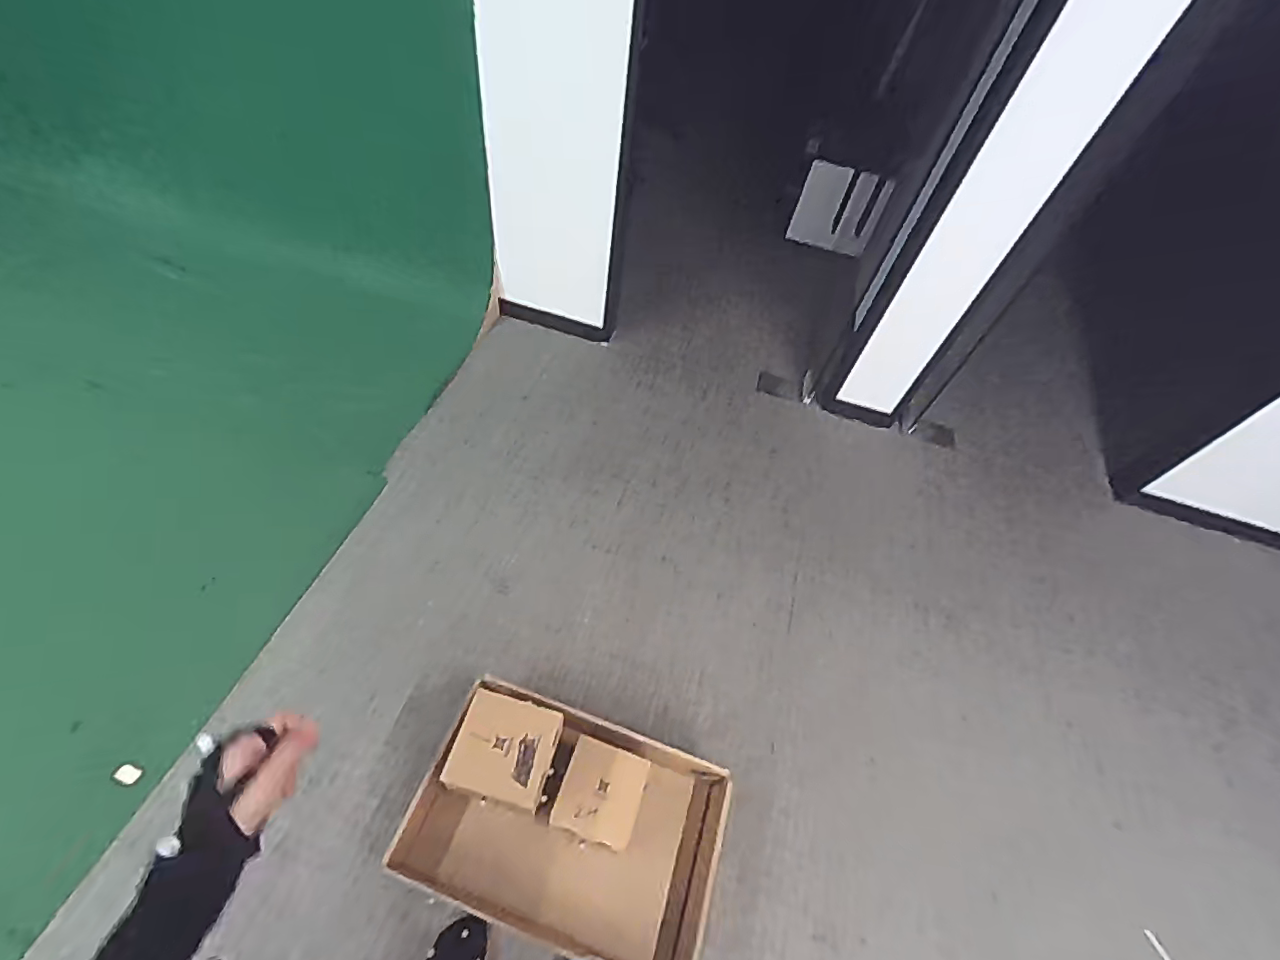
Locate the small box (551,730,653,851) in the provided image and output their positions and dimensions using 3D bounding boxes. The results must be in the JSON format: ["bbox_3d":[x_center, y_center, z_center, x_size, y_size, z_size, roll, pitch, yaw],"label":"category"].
[{"bbox_3d":[-0.085,0.678,1.177,0.168,0.176,0.179,19,54,7],"label":"small box"}]

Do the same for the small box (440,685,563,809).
[{"bbox_3d":[-0.259,0.526,1.057,0.179,0.176,0.168,16,54,4],"label":"small box"}]
